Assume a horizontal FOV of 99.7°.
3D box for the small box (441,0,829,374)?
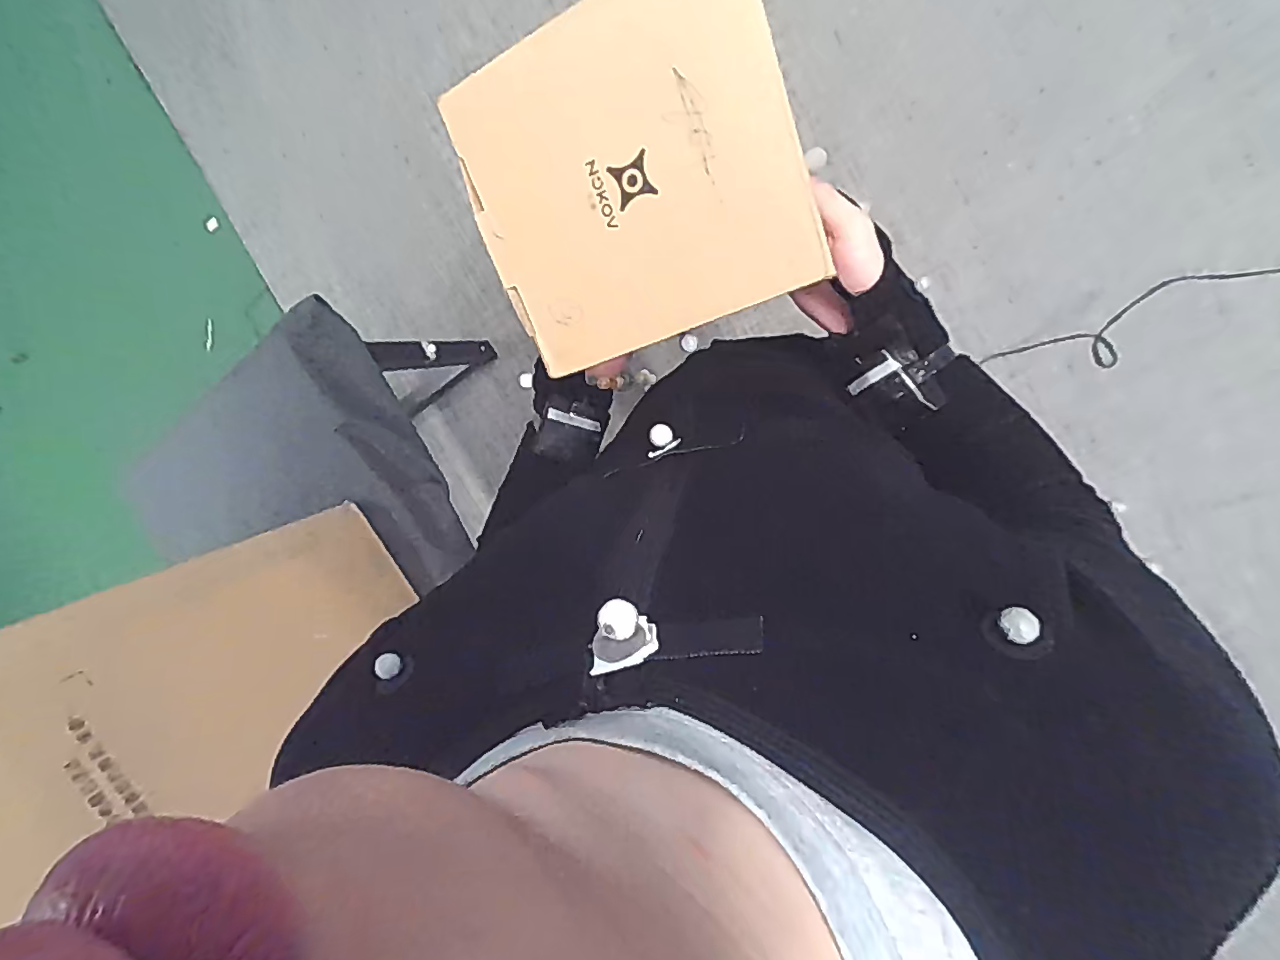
[{"bbox_3d":[0.015,-0.186,0.357,0.179,0.176,0.168,-16,106,22],"label":"small box"}]
